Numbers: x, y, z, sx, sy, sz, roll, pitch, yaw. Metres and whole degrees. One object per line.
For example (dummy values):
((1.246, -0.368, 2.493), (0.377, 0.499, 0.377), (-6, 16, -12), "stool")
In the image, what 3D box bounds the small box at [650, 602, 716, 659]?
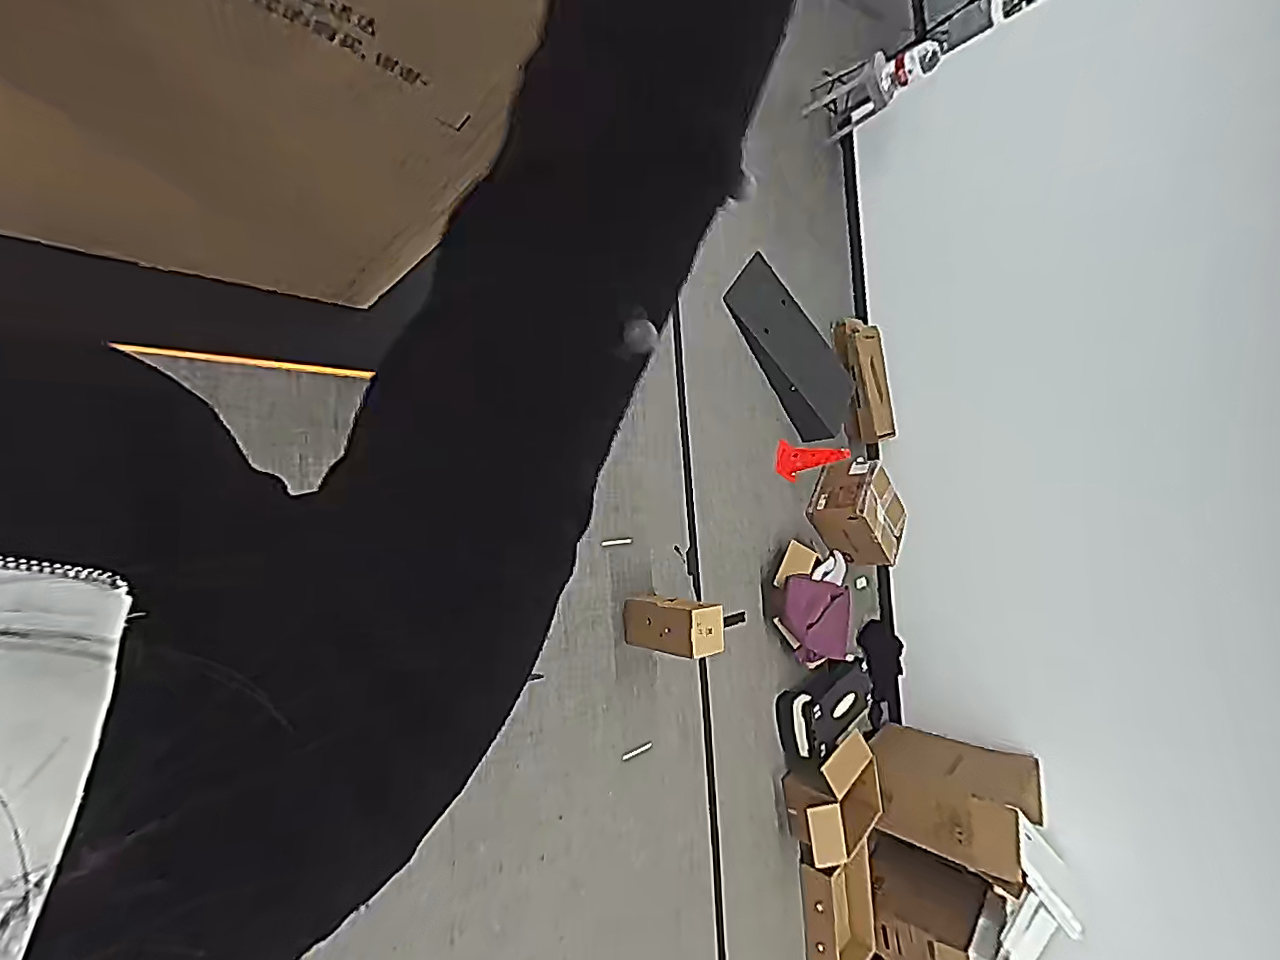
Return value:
((0.156, 0.536, 1.948), (0.179, 0.176, 0.168), (4, 83, -44), "small box")

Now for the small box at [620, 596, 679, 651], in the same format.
((0.036, 0.541, 2.061), (0.168, 0.176, 0.179), (4, 84, -44), "small box")
